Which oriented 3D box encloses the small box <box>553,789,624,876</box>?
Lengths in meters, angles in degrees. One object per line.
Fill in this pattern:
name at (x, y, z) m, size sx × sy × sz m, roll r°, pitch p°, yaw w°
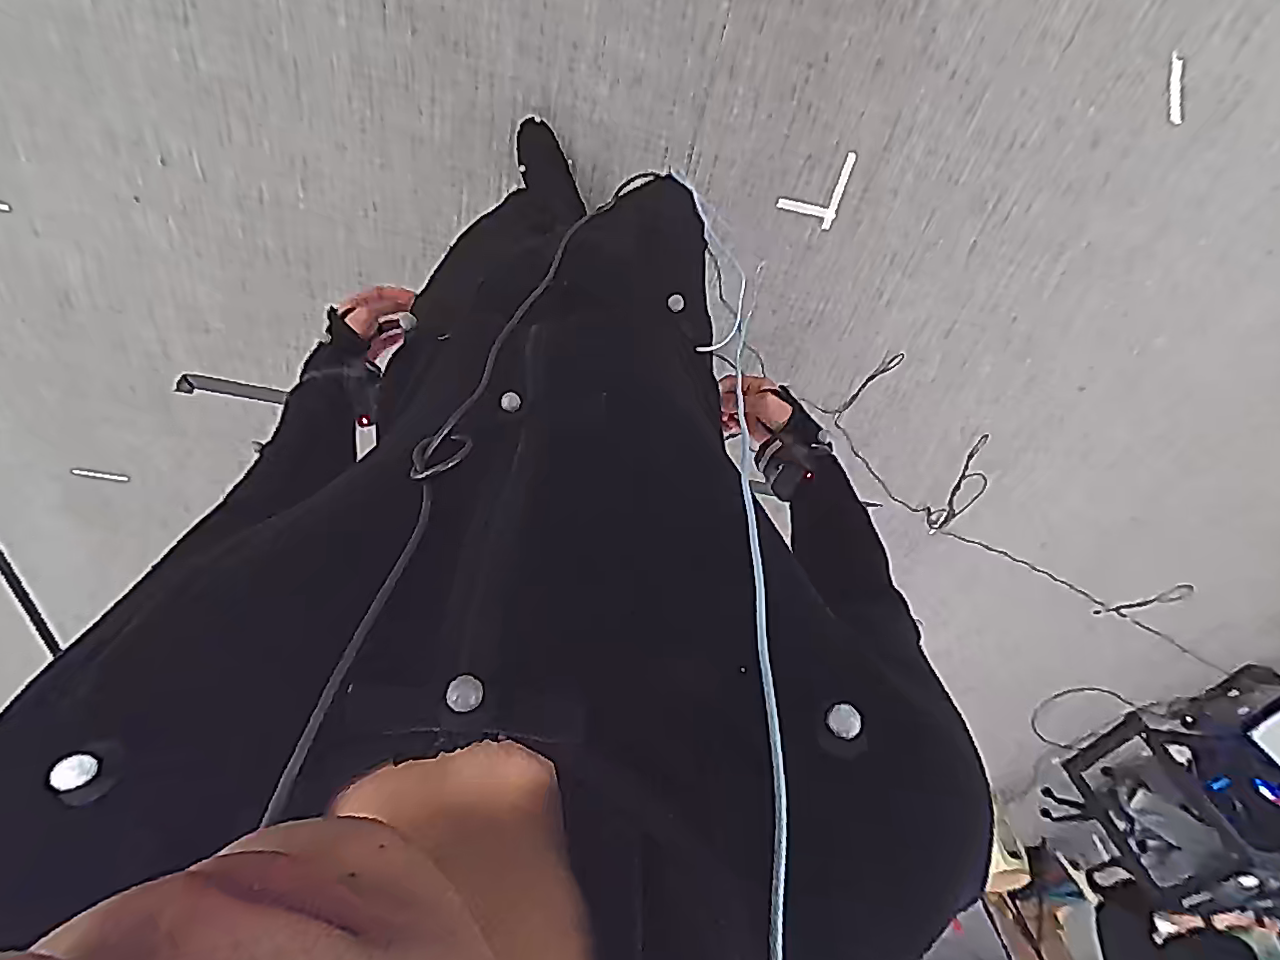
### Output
small box at (-0.152, 1.044, 1.605) m, size 0.179 × 0.176 × 0.168 m, roll 12°, pitch 125°, yaw -12°
